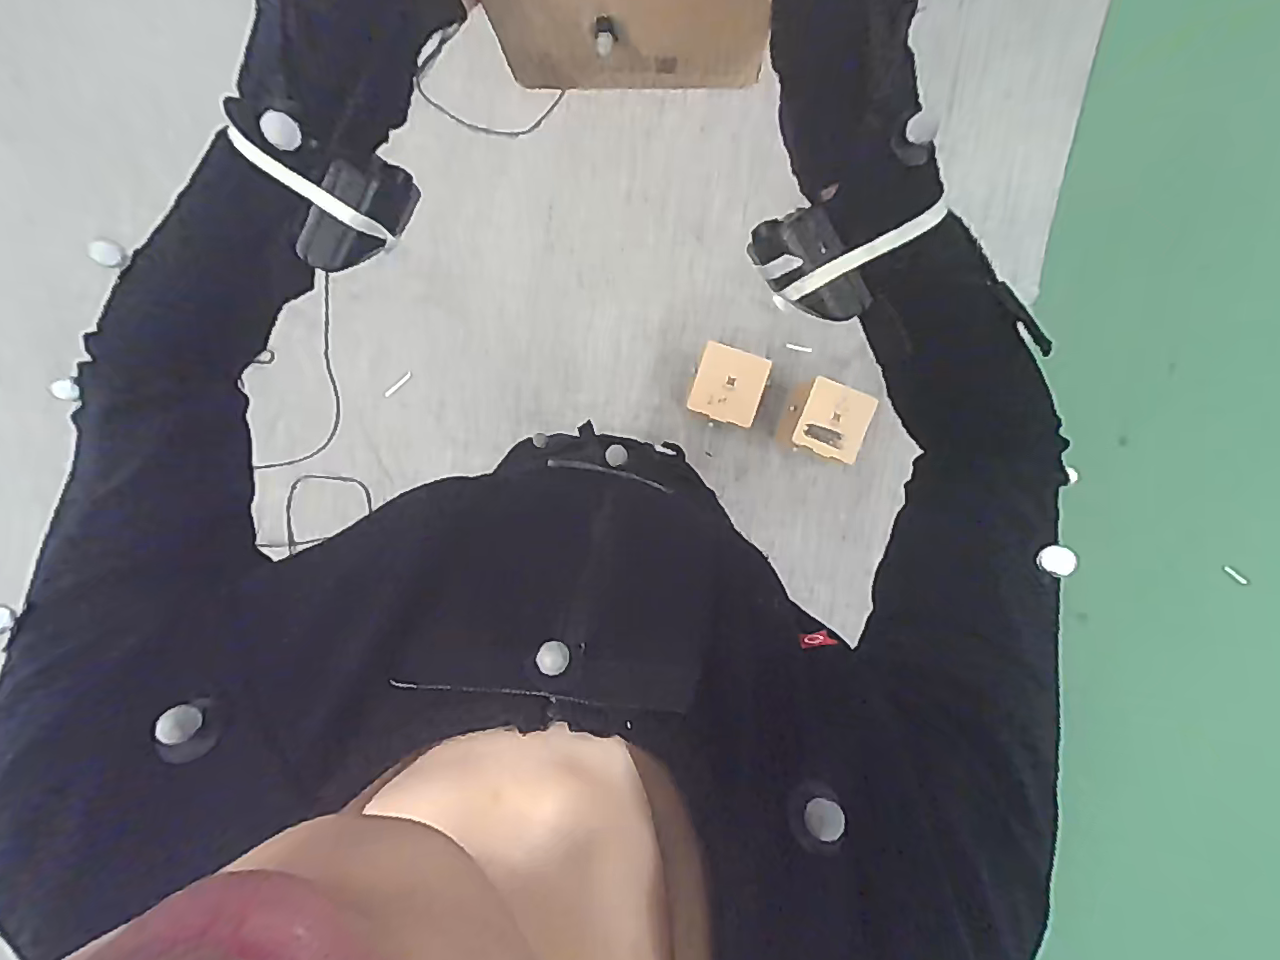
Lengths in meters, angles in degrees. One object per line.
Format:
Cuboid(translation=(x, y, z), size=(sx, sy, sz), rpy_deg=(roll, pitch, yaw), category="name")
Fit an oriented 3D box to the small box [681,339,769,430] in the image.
Cuboid(translation=(0.208, -0.237, 1.380), size=(0.168, 0.176, 0.179), rpy_deg=(19, 93, 0), category="small box")
